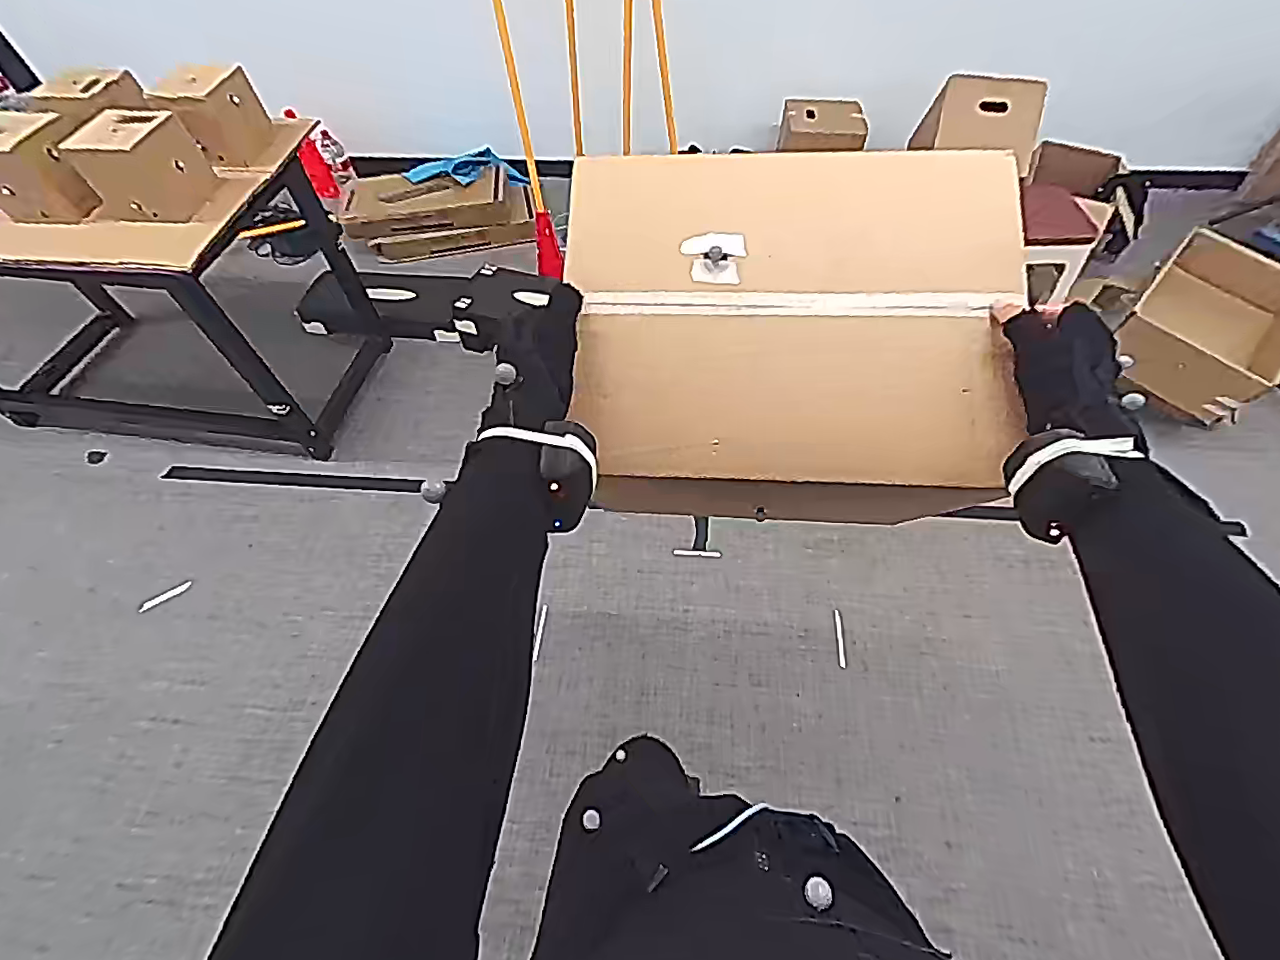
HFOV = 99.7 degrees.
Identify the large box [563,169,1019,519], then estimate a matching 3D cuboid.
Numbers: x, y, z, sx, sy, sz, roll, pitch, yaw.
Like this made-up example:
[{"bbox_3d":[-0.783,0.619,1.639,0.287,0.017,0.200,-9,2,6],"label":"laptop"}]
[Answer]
[{"bbox_3d":[0.146,-0.120,0.649,0.408,0.320,0.320,1,79,6],"label":"large box"}]
